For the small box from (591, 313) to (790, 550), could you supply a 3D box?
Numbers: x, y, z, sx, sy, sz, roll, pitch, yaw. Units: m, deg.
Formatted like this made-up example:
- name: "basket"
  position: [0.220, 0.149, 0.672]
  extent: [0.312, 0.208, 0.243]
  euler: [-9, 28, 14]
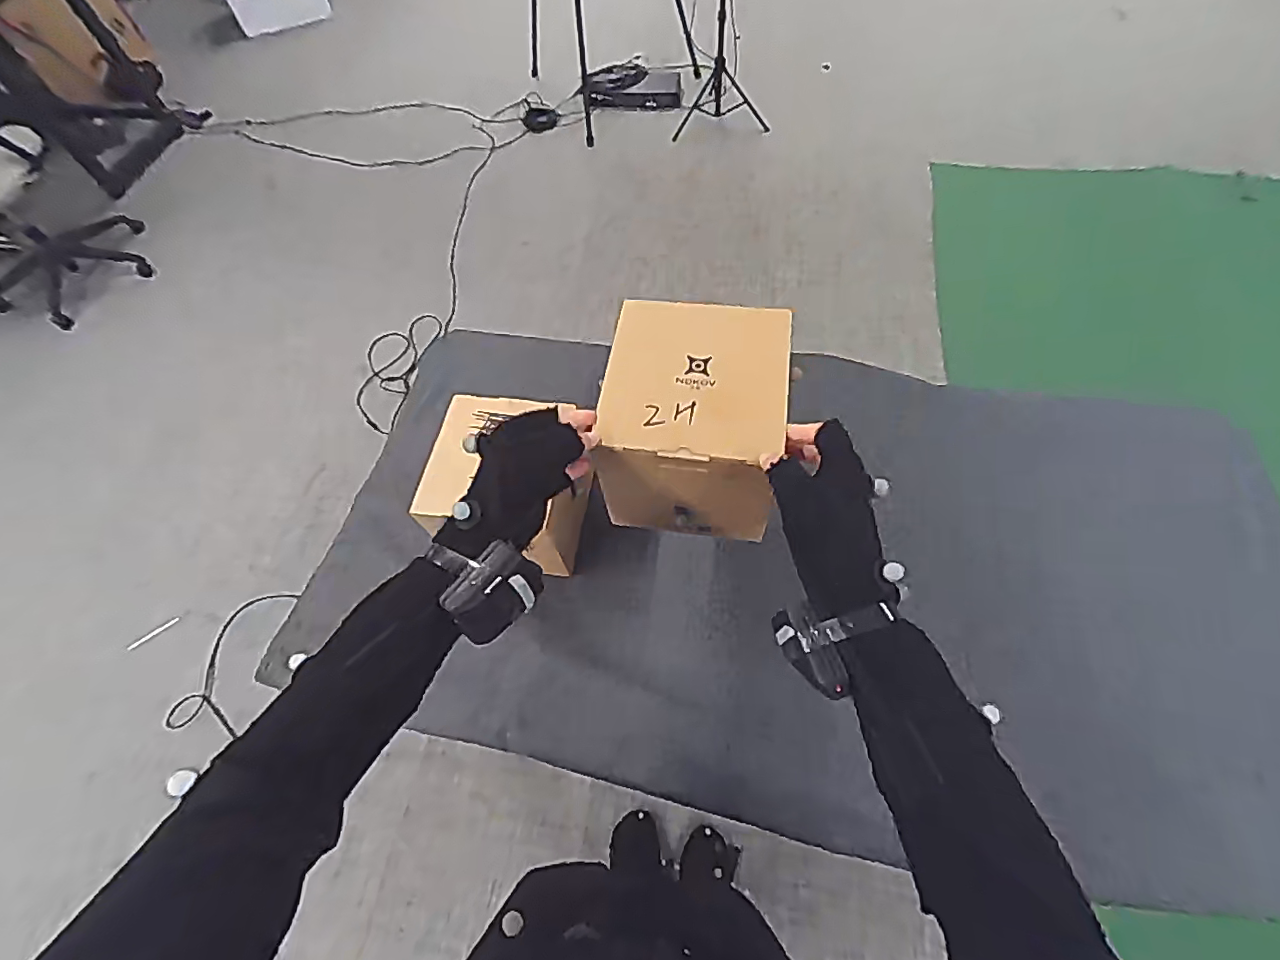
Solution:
- name: "small box"
  position: [0.056, -0.046, 0.565]
  extent: [0.168, 0.176, 0.179]
  euler: [6, 62, 9]
